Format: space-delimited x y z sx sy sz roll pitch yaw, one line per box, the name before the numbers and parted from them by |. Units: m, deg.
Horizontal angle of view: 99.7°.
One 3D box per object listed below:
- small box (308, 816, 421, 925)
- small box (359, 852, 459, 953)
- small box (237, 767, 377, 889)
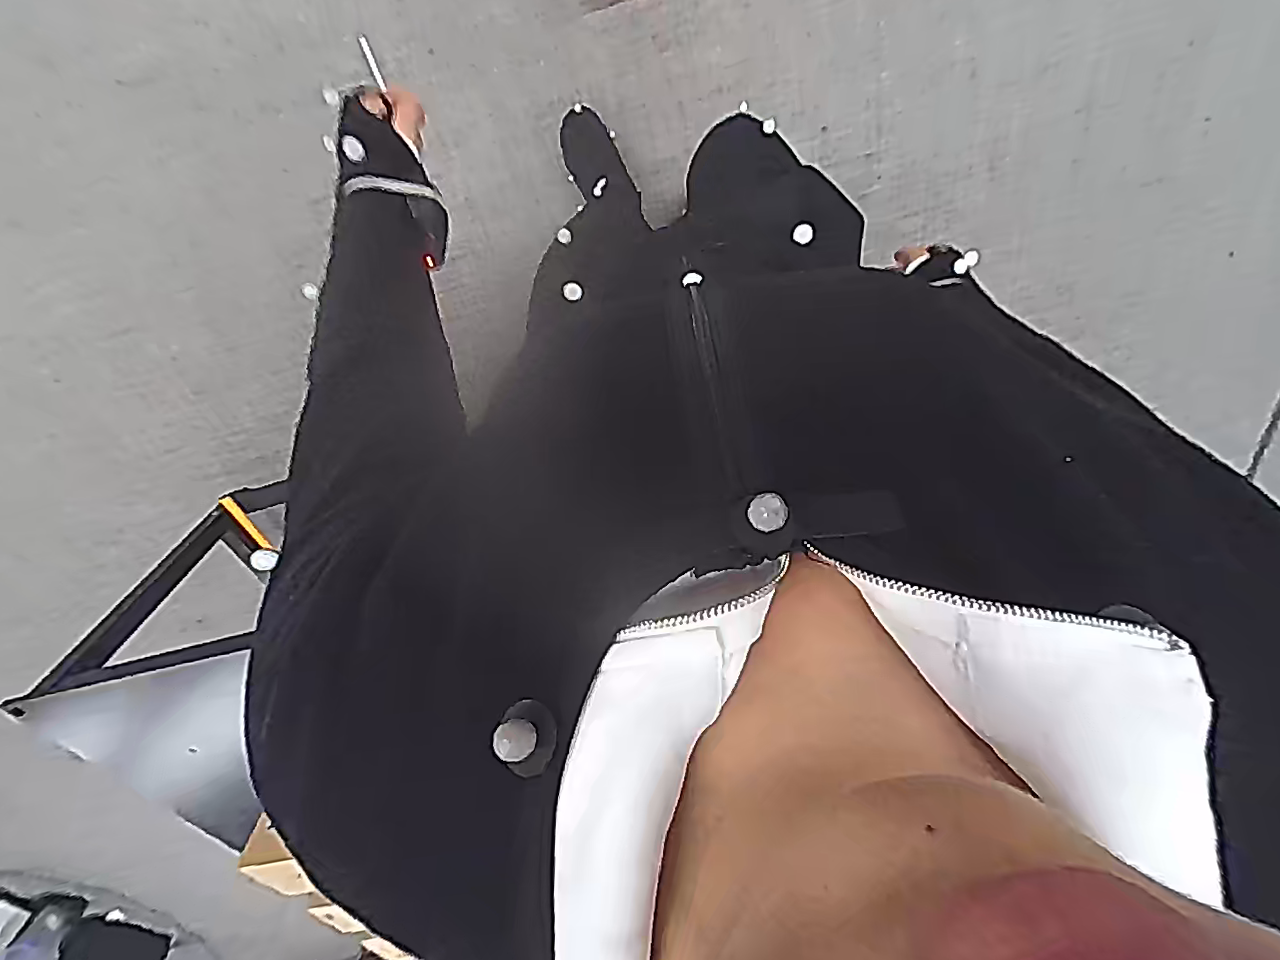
small box | -0.670 0.966 1.345 0.179 0.176 0.168 -14 123 6
small box | -0.619 1.151 1.476 0.168 0.176 0.179 -14 124 6
small box | -0.733 0.778 1.213 0.179 0.176 0.168 -15 125 6
